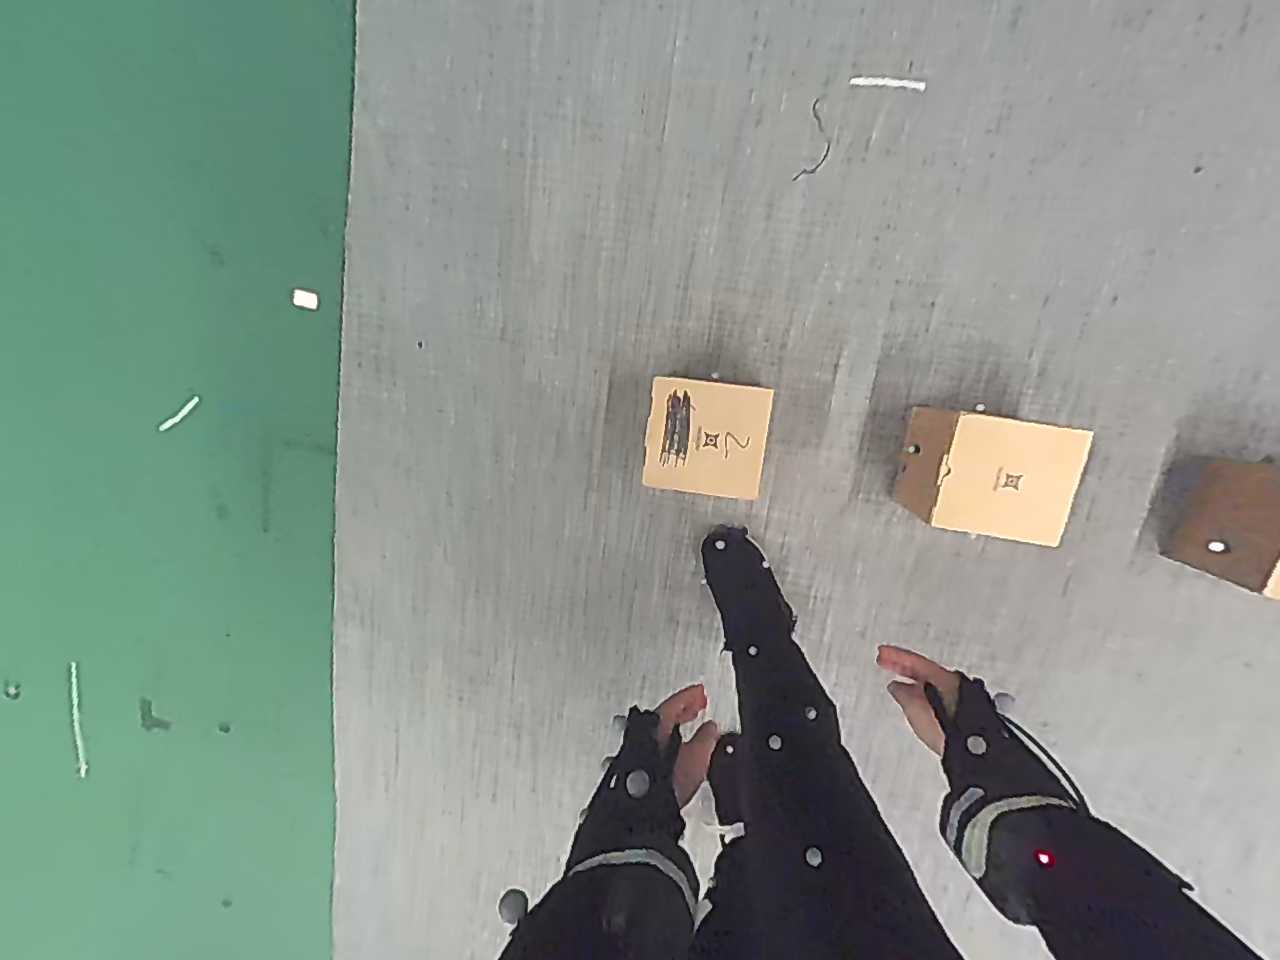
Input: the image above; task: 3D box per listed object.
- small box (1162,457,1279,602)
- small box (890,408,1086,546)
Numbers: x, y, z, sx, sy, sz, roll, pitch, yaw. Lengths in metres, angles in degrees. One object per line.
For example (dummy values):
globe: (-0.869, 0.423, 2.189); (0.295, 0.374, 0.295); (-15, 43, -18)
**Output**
small box: (0.930, 0.077, 0.784); (0.168, 0.176, 0.179); (13, 101, 4)
small box: (0.510, -0.015, 0.822); (0.179, 0.176, 0.168); (10, 102, 6)
